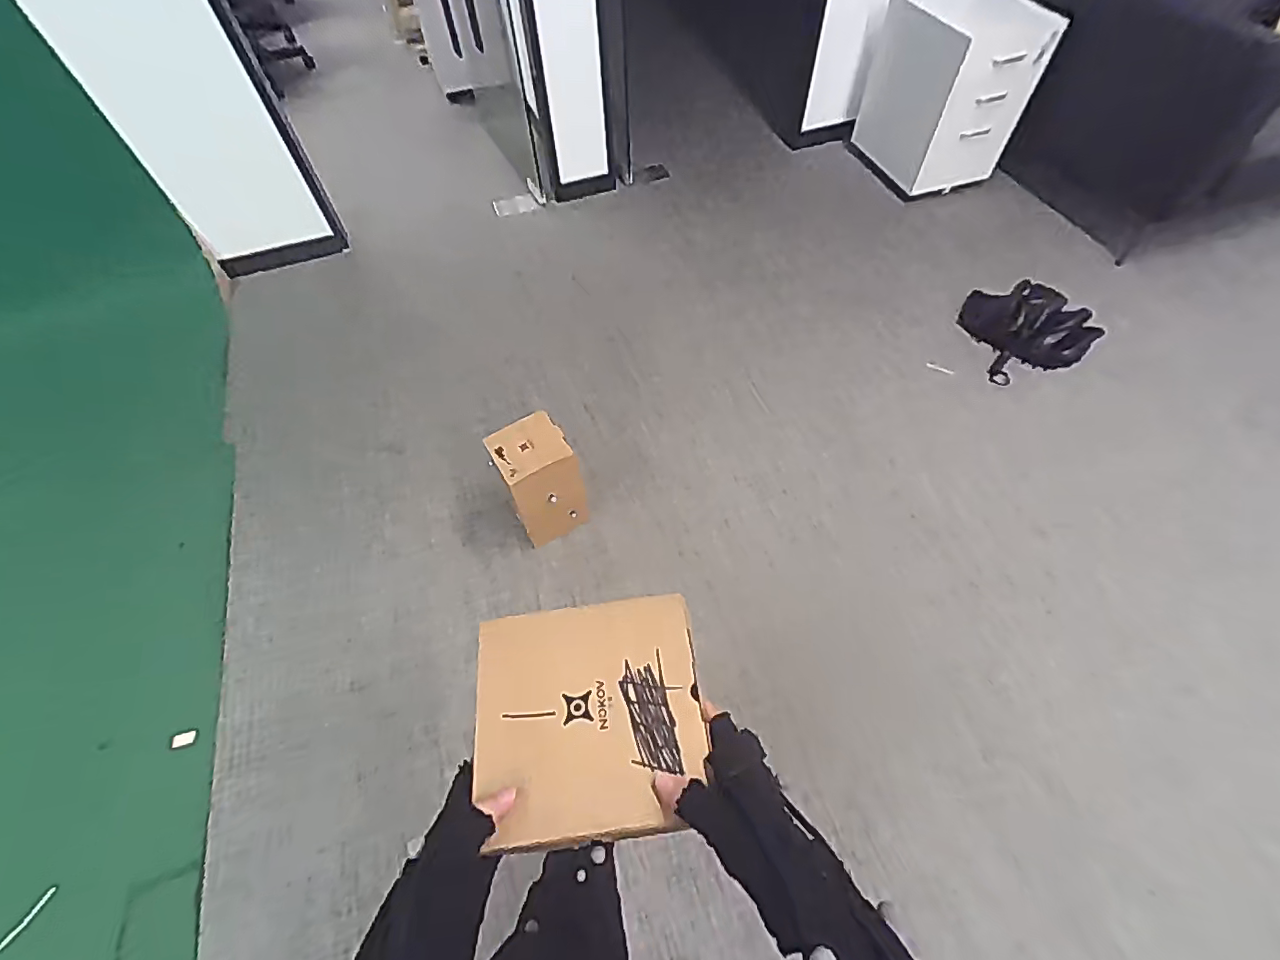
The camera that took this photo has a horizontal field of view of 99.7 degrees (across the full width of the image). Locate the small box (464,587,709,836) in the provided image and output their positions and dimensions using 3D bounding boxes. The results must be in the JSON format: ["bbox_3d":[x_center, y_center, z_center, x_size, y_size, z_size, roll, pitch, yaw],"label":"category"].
[{"bbox_3d":[-0.042,0.213,0.488,0.179,0.176,0.168,-8,56,-1],"label":"small box"}]

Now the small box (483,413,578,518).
[{"bbox_3d":[-0.271,-0.034,1.388,0.179,0.176,0.168,-31,62,-16],"label":"small box"}]

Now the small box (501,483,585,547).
[{"bbox_3d":[-0.266,0.057,1.522,0.179,0.176,0.168,-29,60,-14],"label":"small box"}]
